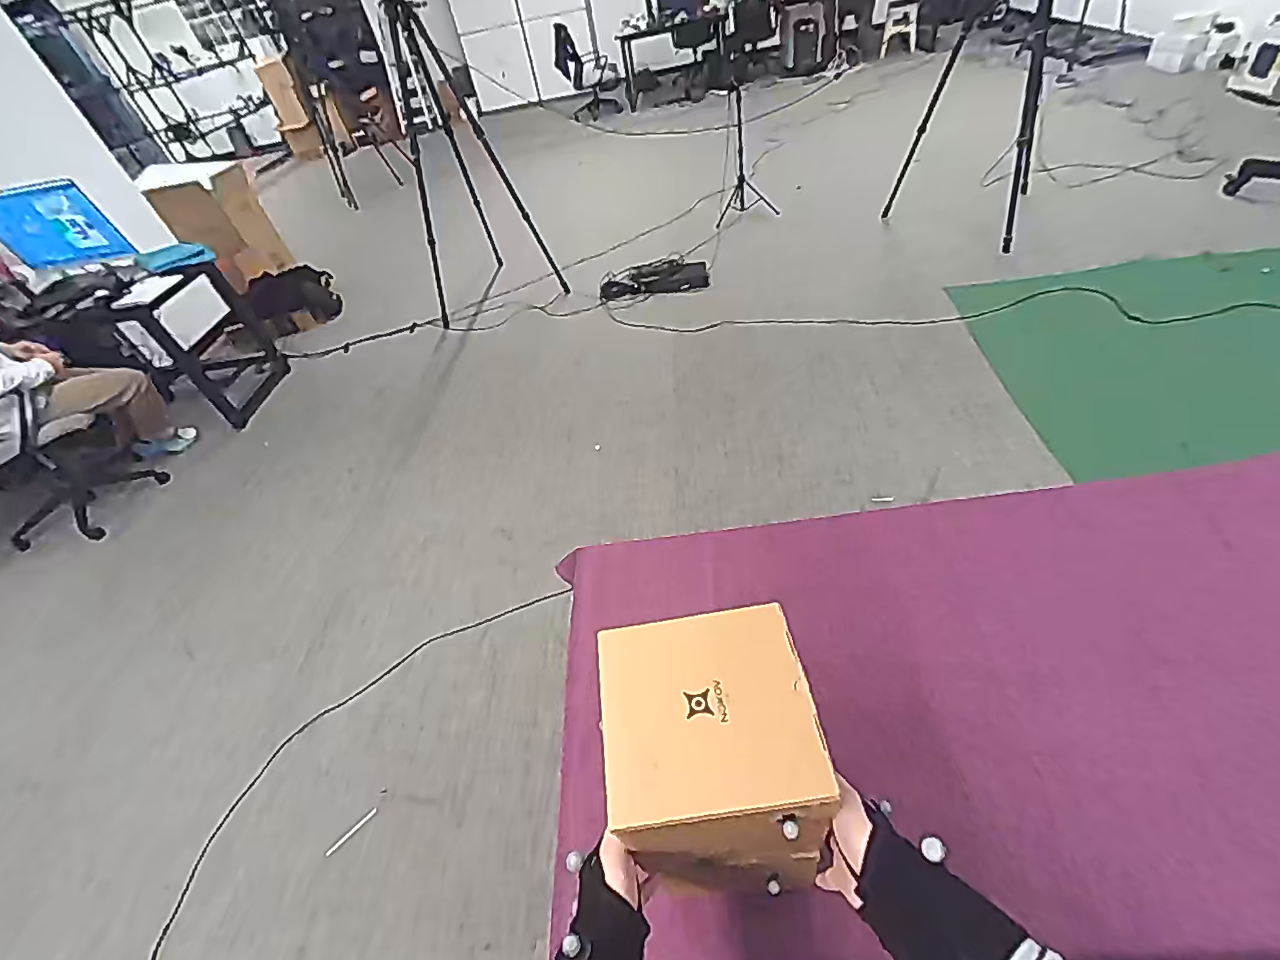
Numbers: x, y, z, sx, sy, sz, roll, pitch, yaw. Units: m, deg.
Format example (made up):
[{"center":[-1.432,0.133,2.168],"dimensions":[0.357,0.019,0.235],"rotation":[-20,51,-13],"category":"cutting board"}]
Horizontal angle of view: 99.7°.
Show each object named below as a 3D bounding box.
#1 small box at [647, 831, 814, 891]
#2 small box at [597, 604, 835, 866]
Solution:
[{"center":[0.096,0.360,0.631],"dimensions":[0.168,0.176,0.179],"rotation":[-8,44,4],"category":"small box"},{"center":[0.063,0.243,0.509],"dimensions":[0.179,0.176,0.168],"rotation":[-9,46,1],"category":"small box"}]
